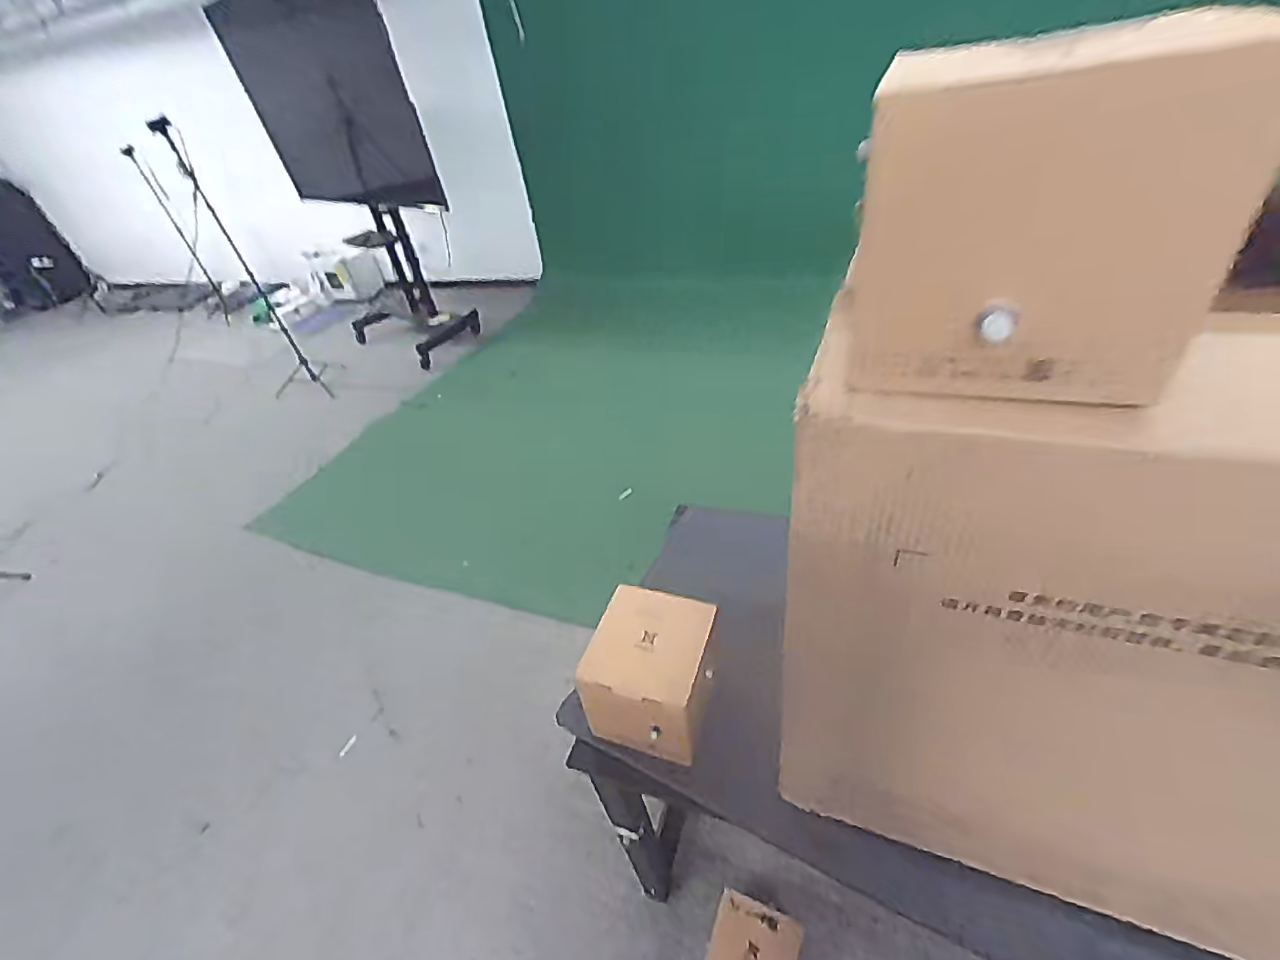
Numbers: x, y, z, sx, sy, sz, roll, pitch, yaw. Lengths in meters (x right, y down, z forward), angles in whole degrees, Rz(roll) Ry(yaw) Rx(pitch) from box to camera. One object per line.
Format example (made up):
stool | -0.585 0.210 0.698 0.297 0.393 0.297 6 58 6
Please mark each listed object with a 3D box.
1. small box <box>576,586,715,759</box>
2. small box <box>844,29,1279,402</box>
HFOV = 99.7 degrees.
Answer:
small box | 0.021 0.299 0.843 0.168 0.176 0.179 8 39 18
small box | 0.233 -0.171 0.355 0.168 0.176 0.179 7 42 23
